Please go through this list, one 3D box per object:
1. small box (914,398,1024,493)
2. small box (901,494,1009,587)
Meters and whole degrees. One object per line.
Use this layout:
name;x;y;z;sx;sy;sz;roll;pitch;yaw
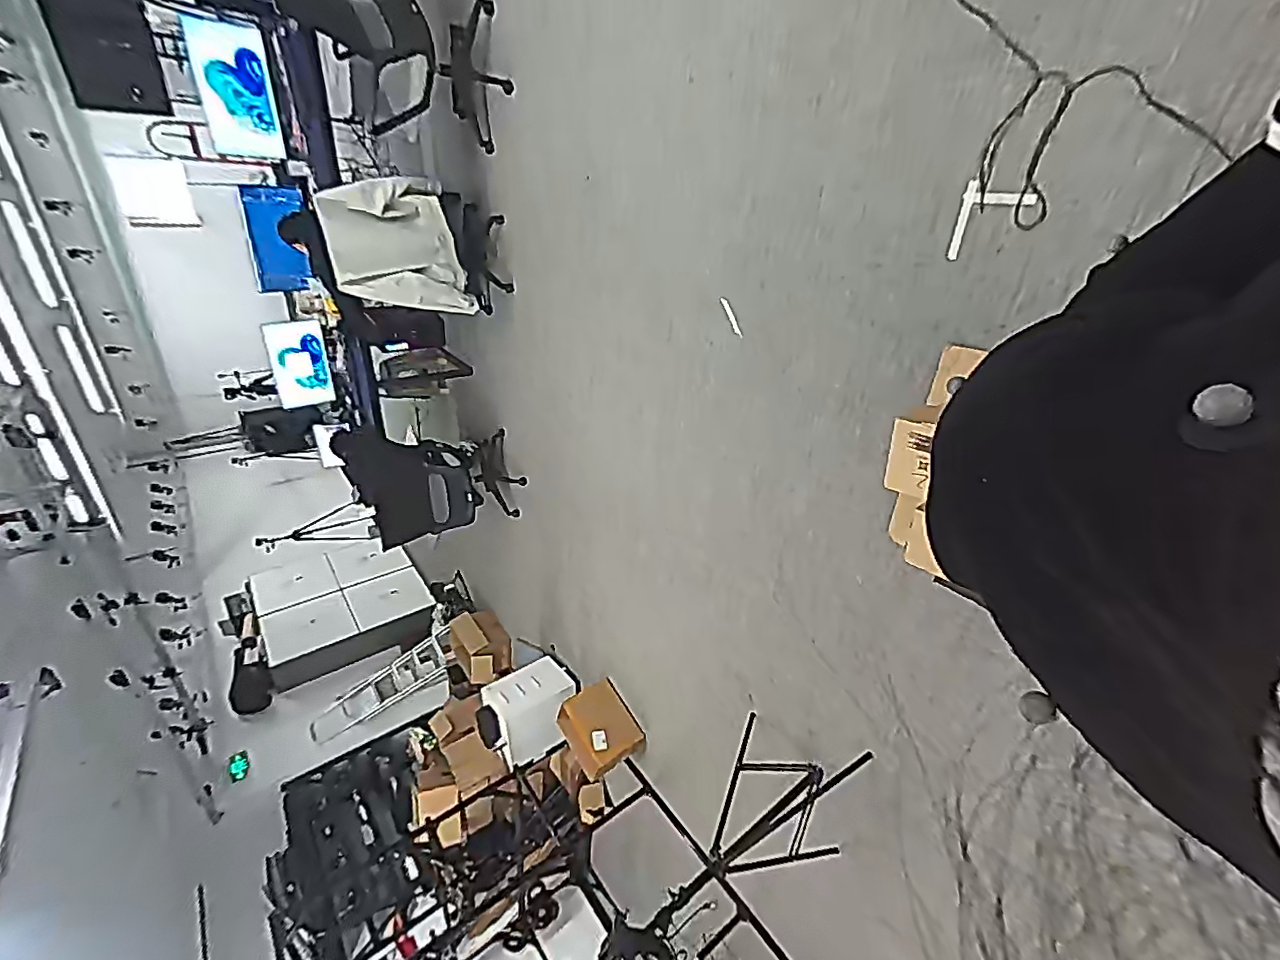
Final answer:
small box;0.814;-0.094;1.336;0.168;0.176;0.179;28;126;45
small box;0.829;0.149;1.428;0.179;0.176;0.168;27;127;45
